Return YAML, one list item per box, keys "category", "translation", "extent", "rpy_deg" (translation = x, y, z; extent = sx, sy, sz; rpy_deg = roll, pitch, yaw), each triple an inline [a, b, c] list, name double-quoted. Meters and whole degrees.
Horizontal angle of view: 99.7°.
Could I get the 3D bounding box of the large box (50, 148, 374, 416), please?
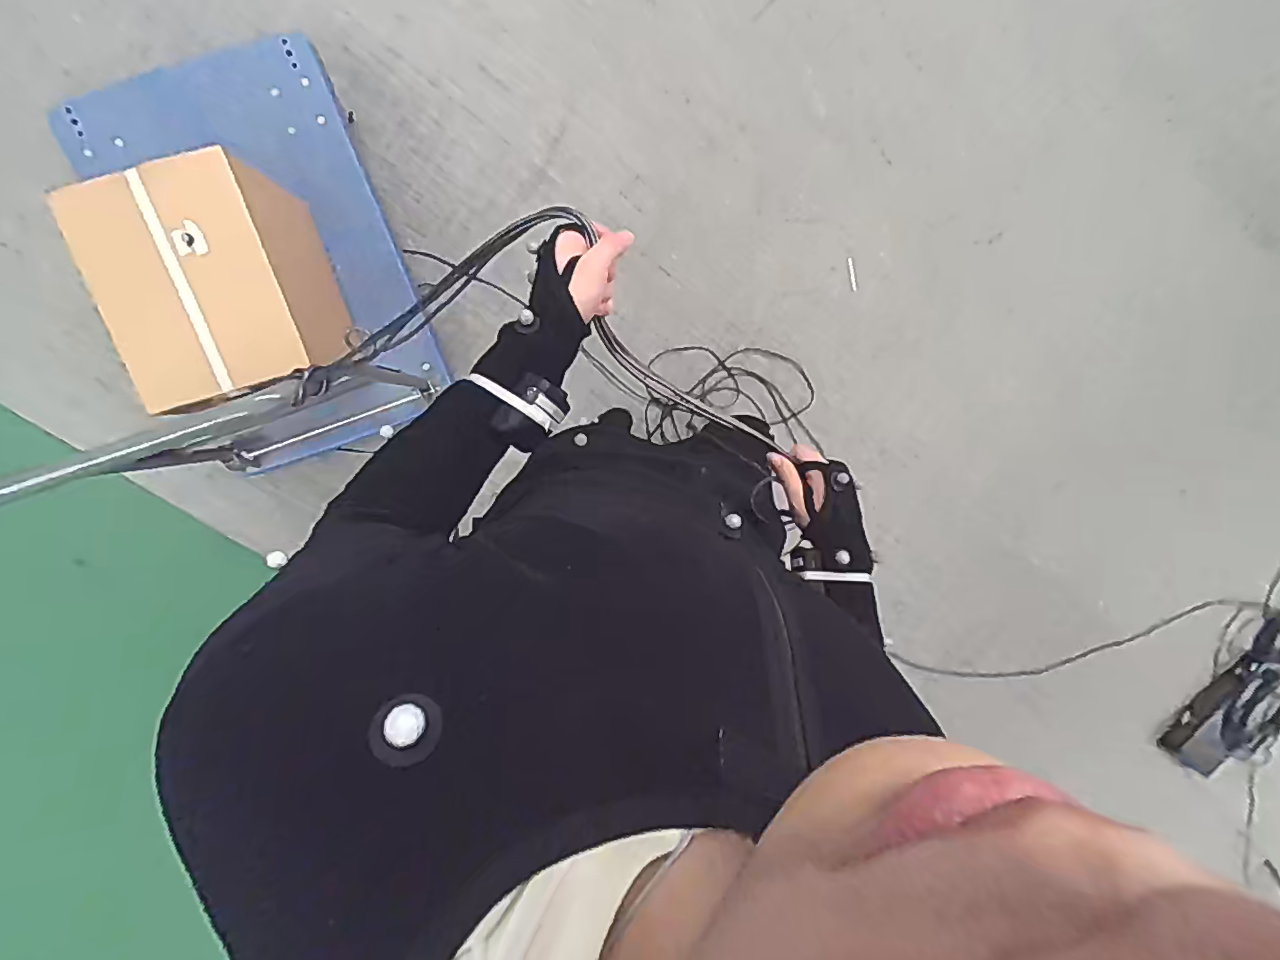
- category: "large box"
  translation: [-0.825, -0.372, 1.116]
  extent: [0.320, 0.320, 0.408]
  rpy_deg: [-18, 101, -3]
